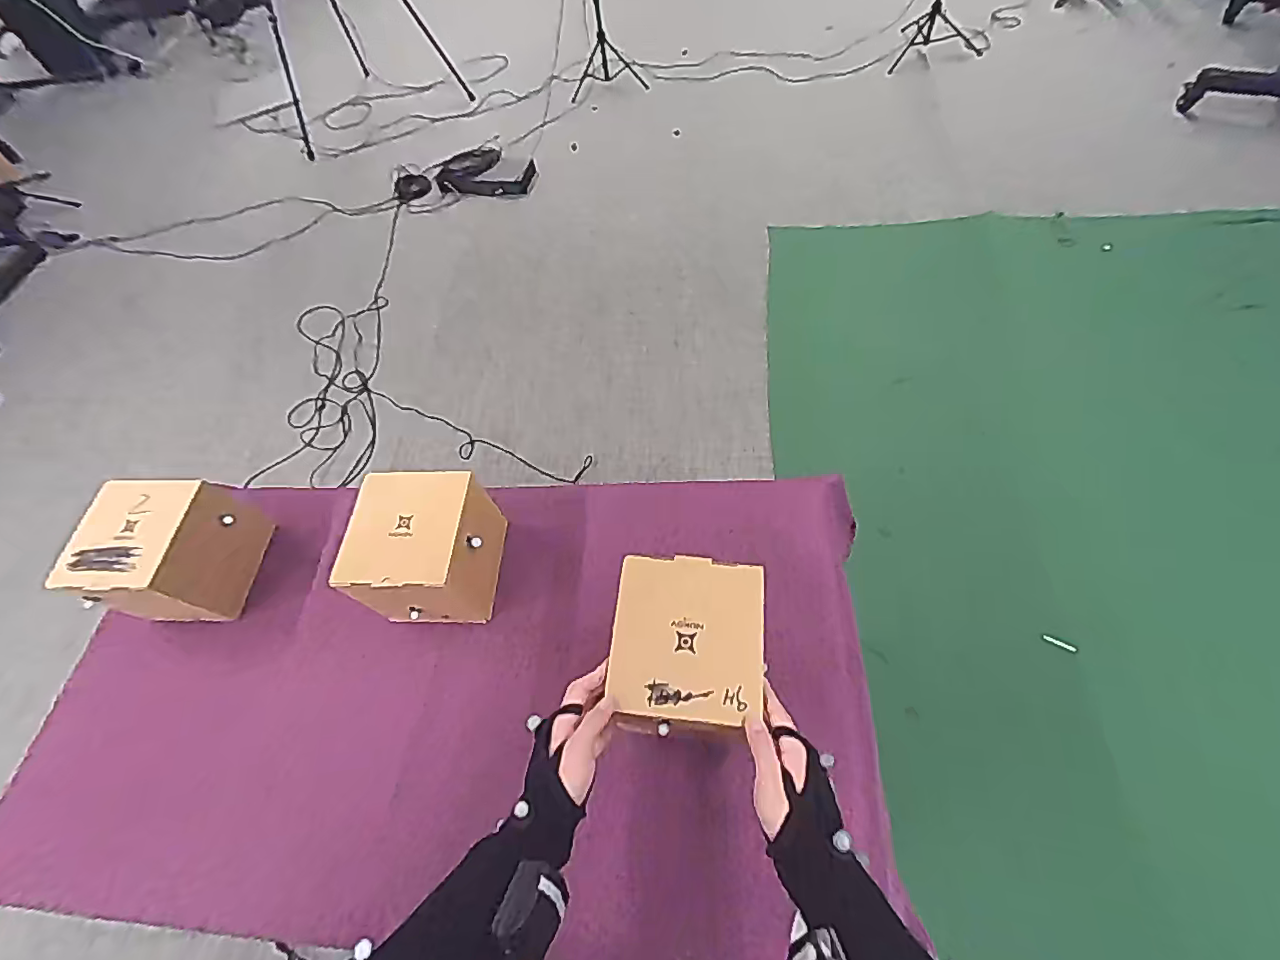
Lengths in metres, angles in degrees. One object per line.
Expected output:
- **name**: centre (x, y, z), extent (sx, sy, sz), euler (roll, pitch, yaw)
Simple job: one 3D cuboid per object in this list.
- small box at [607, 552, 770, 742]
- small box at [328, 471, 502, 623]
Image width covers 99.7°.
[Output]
- **small box**: centre (0.062, 0.206, 0.656), extent (0.168, 0.176, 0.179), euler (4, 61, 8)
- **small box**: centre (-0.317, 0.102, 0.808), extent (0.168, 0.176, 0.179), euler (0, 60, 6)
